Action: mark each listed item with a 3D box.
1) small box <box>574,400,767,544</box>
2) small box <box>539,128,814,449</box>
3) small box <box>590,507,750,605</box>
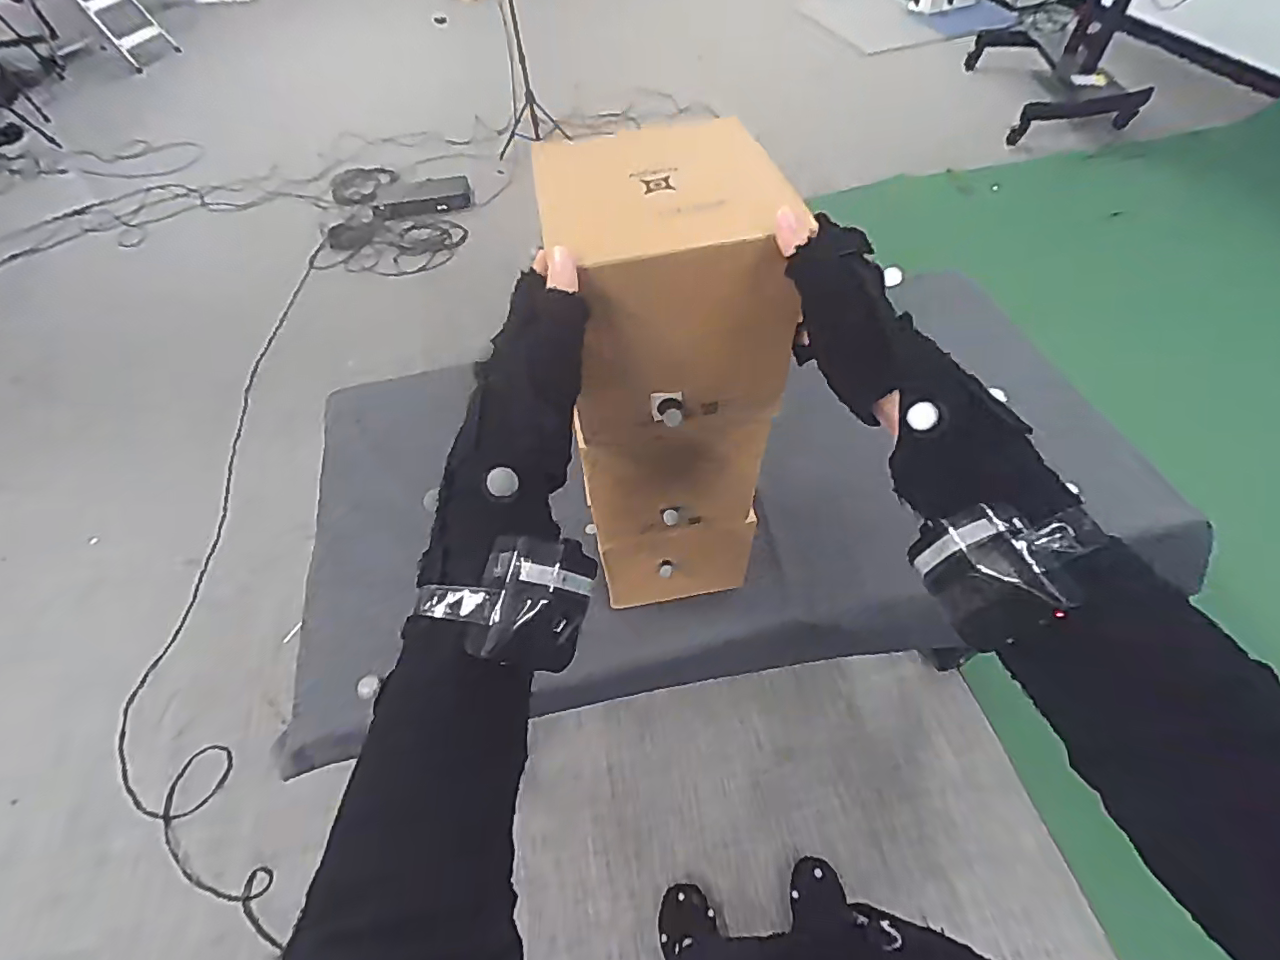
[{"bbox_3d":[0.019,-0.056,0.569,0.168,0.176,0.179,-9,54,-3],"label":"small box"},{"bbox_3d":[0.017,-0.151,0.436,0.168,0.176,0.179,-9,53,-3],"label":"small box"},{"bbox_3d":[0.031,0.046,0.698,0.179,0.176,0.168,-9,54,-3],"label":"small box"}]
